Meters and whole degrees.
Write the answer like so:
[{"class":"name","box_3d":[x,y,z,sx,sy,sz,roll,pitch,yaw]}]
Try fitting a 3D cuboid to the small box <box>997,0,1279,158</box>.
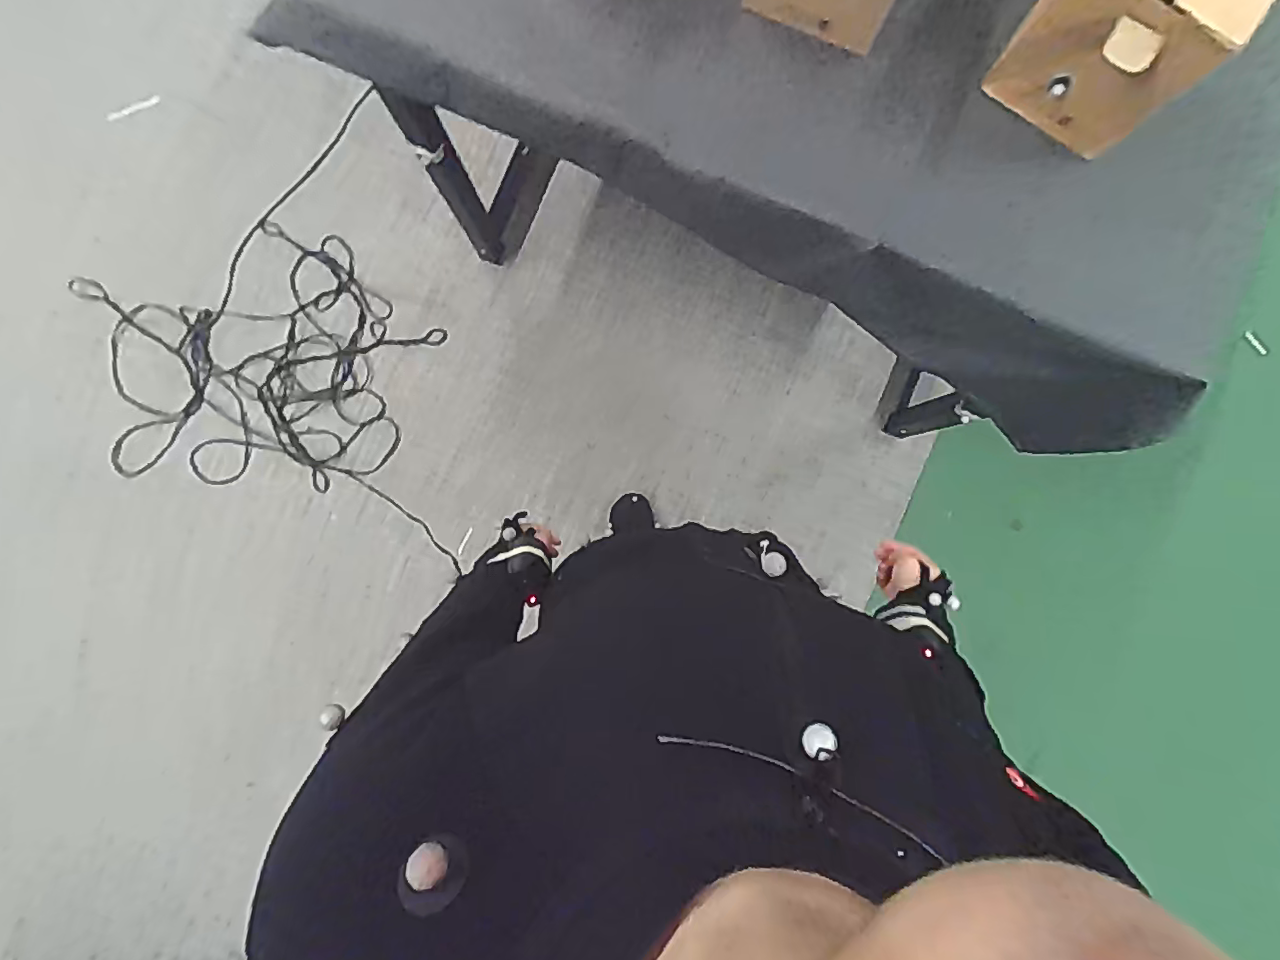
[{"class":"small box","box_3d":[0.541,-0.507,0.586,0.168,0.176,0.179,34,88,0]}]
